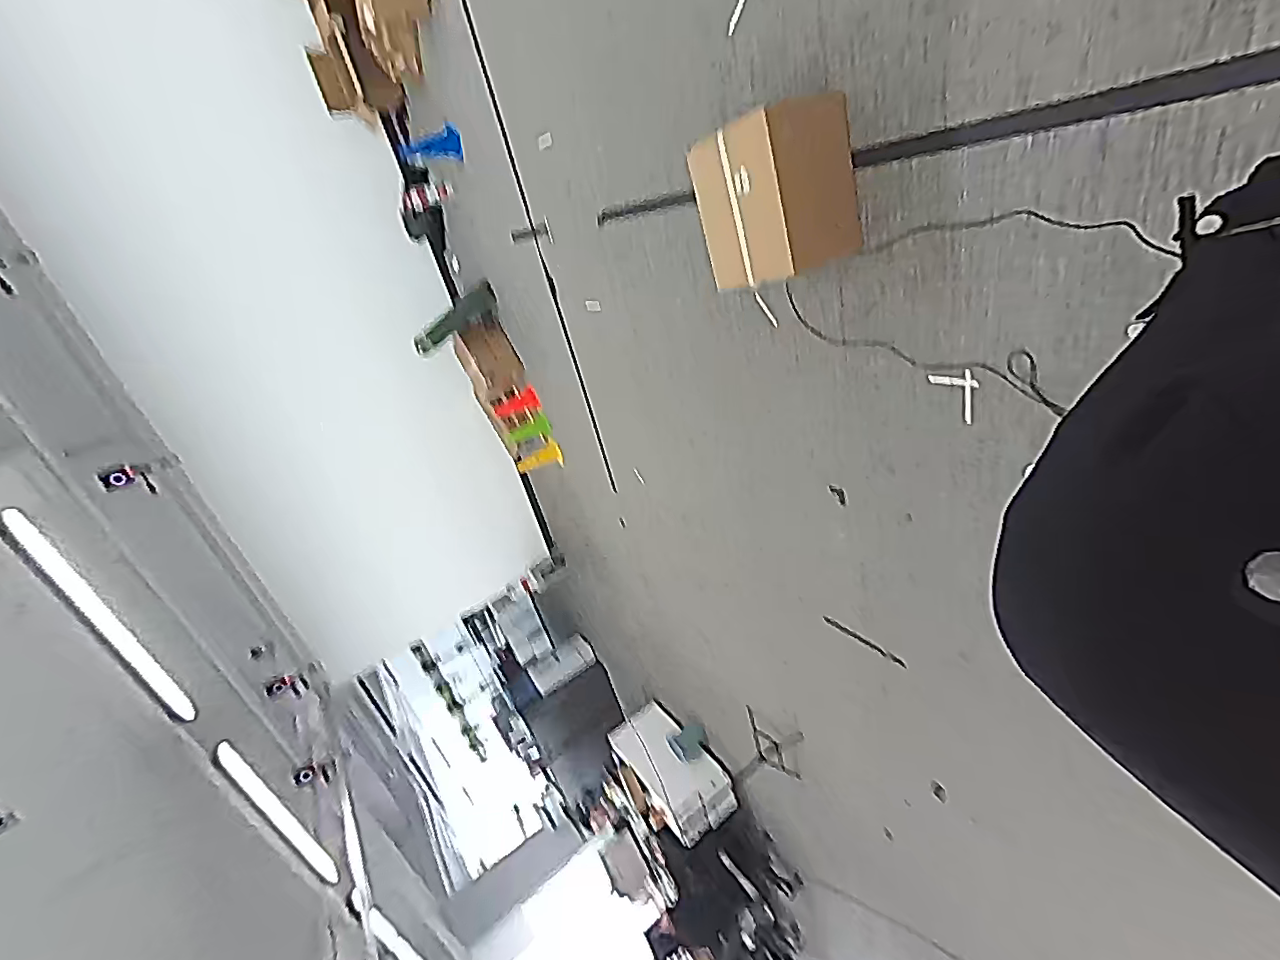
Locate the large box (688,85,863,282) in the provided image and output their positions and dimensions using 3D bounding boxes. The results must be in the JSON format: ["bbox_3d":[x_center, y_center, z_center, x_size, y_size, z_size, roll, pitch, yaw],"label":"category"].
[{"bbox_3d":[0.392,-0.828,1.549,0.320,0.320,0.408,16,129,55],"label":"large box"}]
